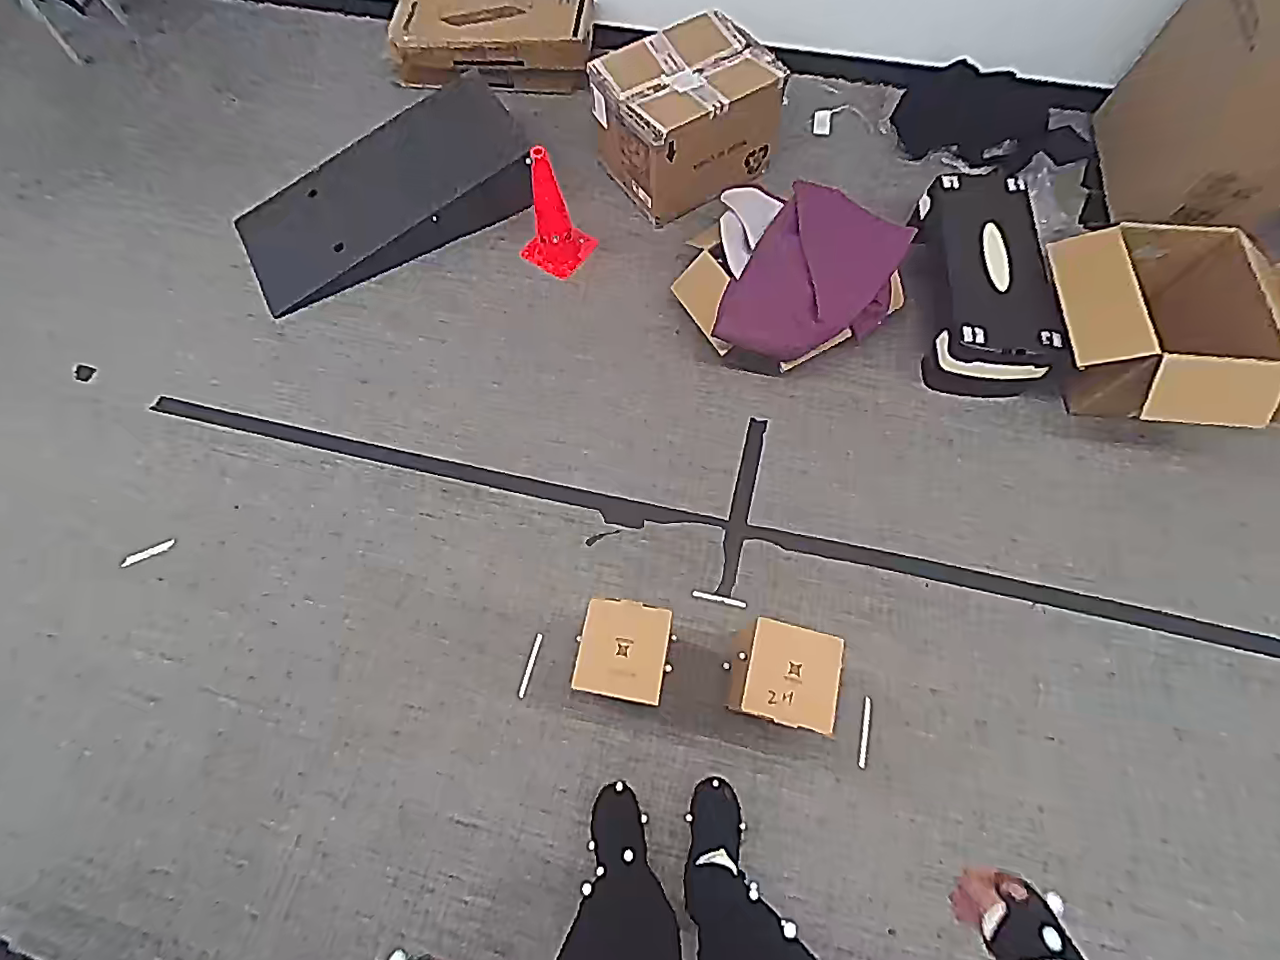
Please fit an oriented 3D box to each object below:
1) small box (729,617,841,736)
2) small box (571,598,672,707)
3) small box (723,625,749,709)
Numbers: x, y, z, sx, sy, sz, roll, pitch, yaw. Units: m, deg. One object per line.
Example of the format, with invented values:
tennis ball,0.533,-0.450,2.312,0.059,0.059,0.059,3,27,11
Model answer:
small box,0.279,0.388,1.070,0.168,0.176,0.179,14,69,7
small box,-0.031,0.350,1.094,0.168,0.176,0.179,8,70,6
small box,0.288,0.444,1.226,0.168,0.176,0.179,12,70,6
